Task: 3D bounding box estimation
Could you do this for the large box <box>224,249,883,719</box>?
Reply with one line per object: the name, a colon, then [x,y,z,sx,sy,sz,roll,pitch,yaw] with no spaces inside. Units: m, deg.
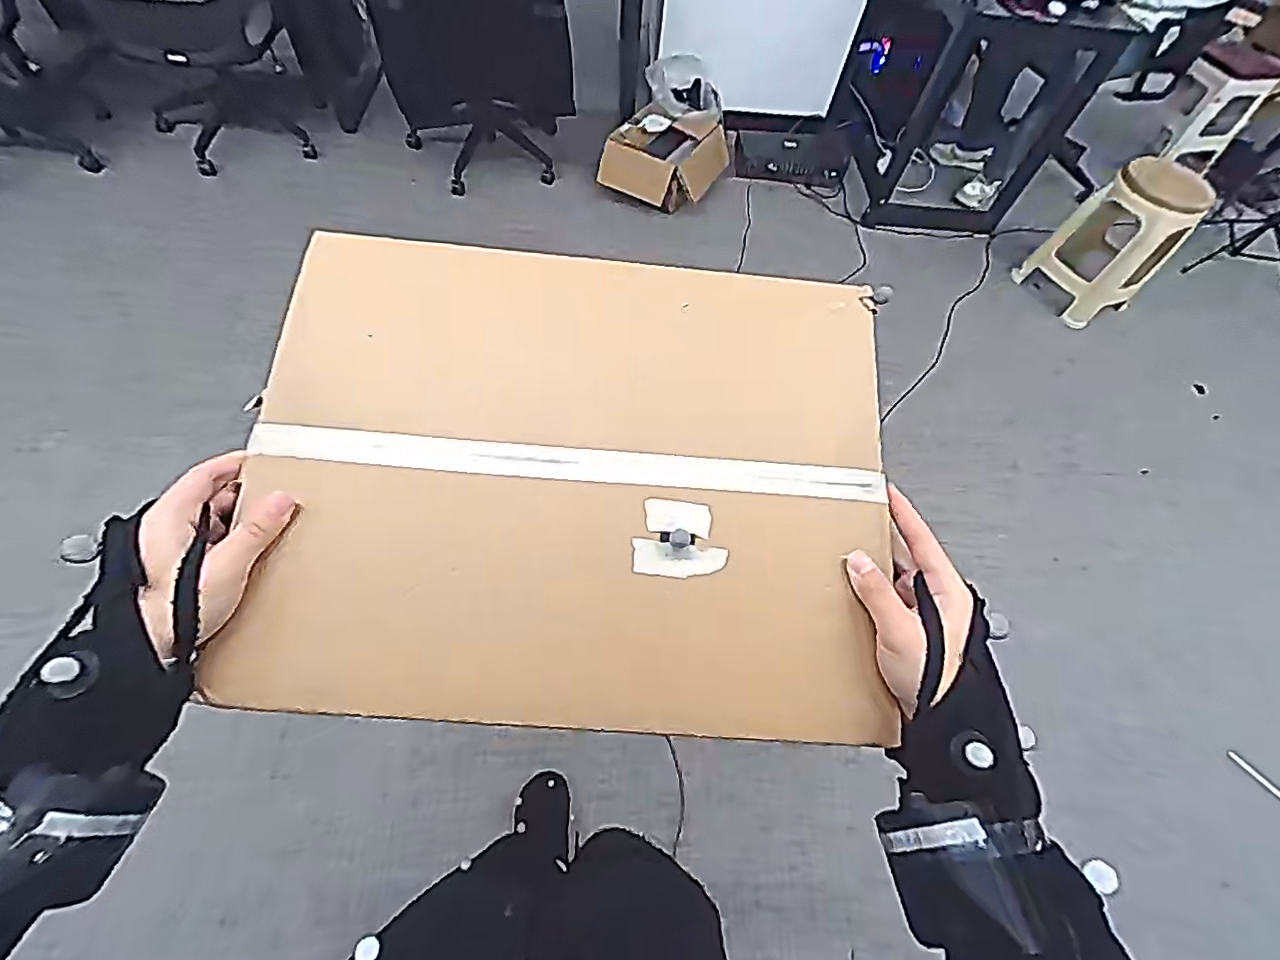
large box: [-0.050,0.030,0.508,0.408,0.320,0.320,5,74,-3]
